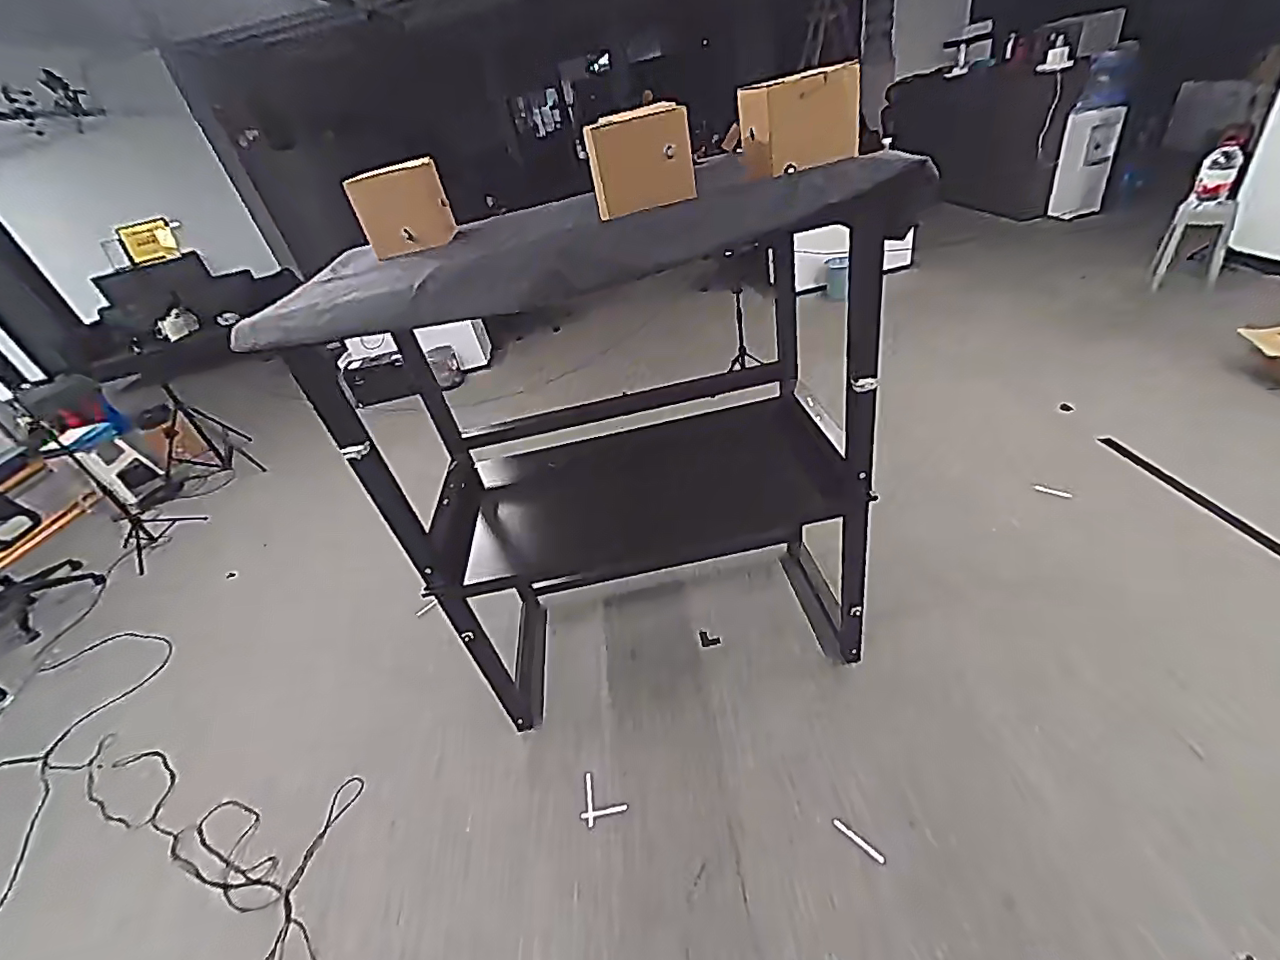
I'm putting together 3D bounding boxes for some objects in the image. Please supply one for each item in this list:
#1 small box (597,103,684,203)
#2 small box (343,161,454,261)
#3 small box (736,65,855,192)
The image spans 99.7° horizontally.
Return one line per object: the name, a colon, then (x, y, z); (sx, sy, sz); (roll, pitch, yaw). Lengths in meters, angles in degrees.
small box: (0.002, -0.772, 1.282); (0.168, 0.176, 0.179); (-13, 36, 1)
small box: (-0.560, -0.639, 1.284); (0.179, 0.176, 0.168); (-13, 36, -1)
small box: (0.294, -0.662, 1.030); (0.168, 0.176, 0.179); (-15, 34, -1)
